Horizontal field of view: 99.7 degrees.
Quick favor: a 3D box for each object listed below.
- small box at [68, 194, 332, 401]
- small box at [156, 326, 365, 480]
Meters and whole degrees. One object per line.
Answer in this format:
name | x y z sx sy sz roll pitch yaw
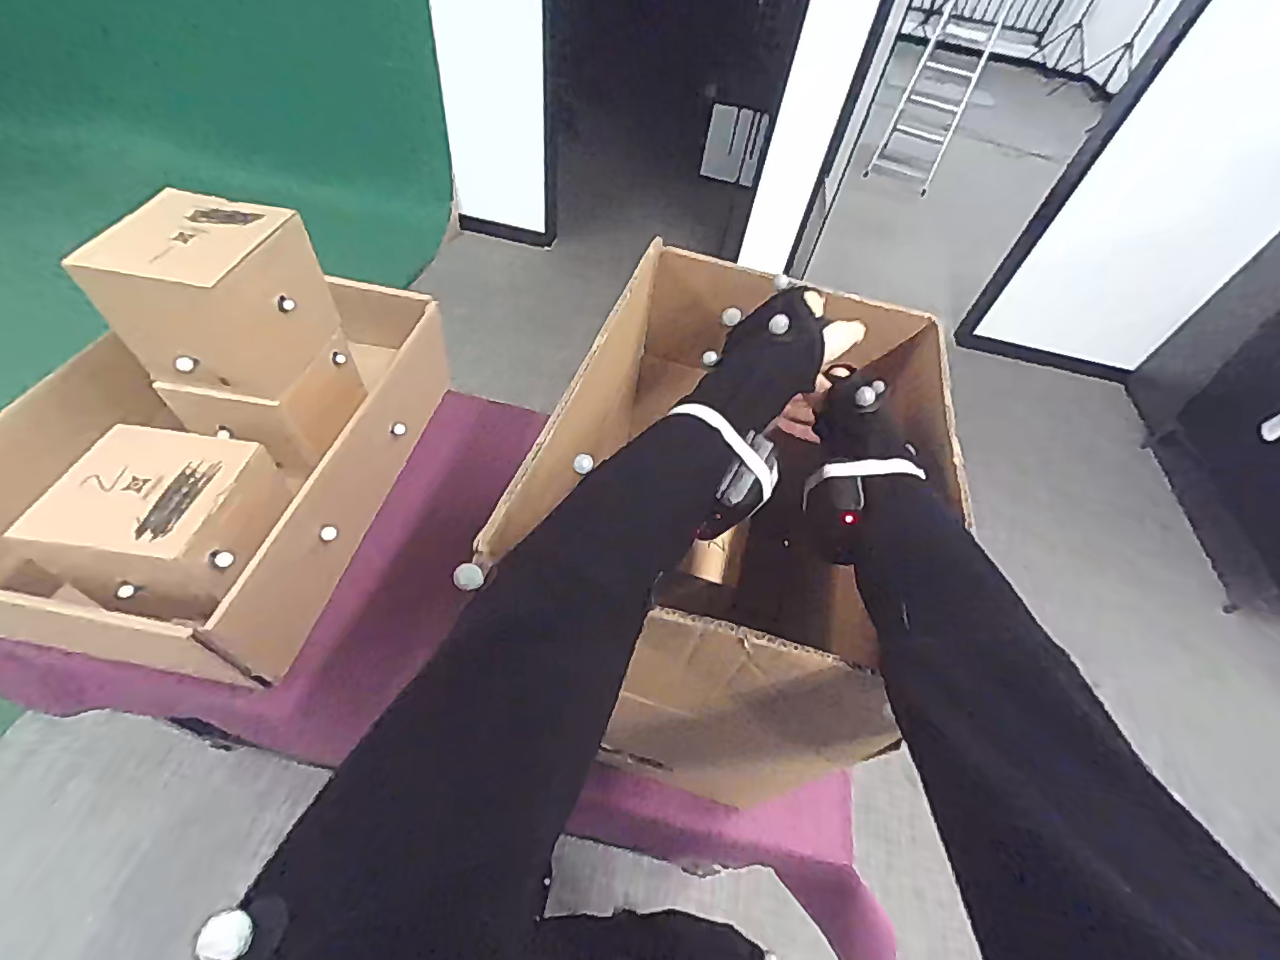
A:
small box | -0.525 -0.228 0.686 0.168 0.176 0.179 9 53 1
small box | -0.543 -0.121 0.810 0.168 0.176 0.179 9 51 0
